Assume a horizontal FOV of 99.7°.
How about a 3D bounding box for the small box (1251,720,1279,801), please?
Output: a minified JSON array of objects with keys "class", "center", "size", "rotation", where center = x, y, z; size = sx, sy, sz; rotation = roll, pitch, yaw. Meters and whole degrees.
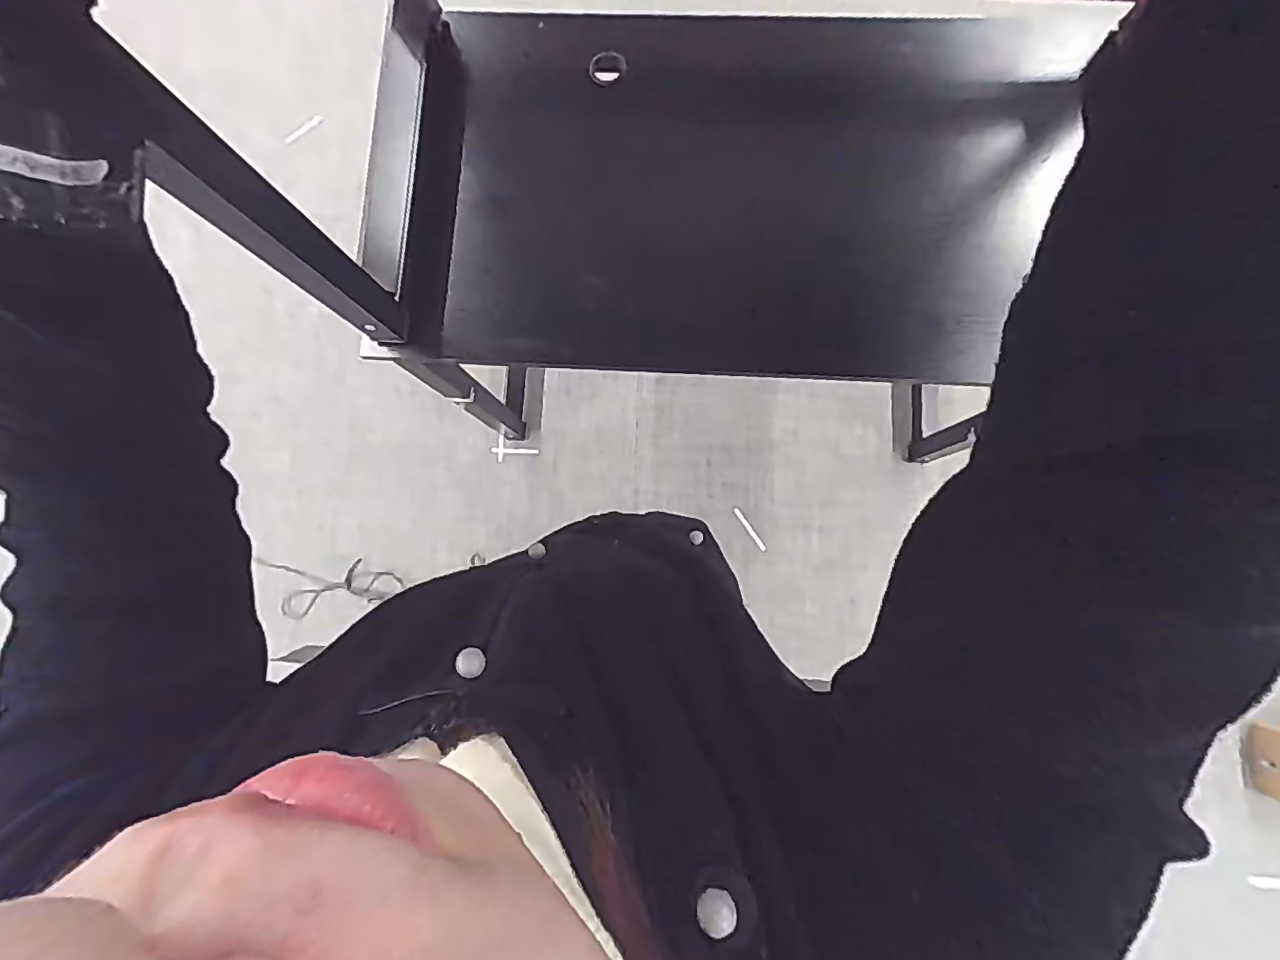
[{"class":"small box","center":[1.620,0.693,1.280],"size":[0.168,0.176,0.179],"rotation":[2,84,3]}]
